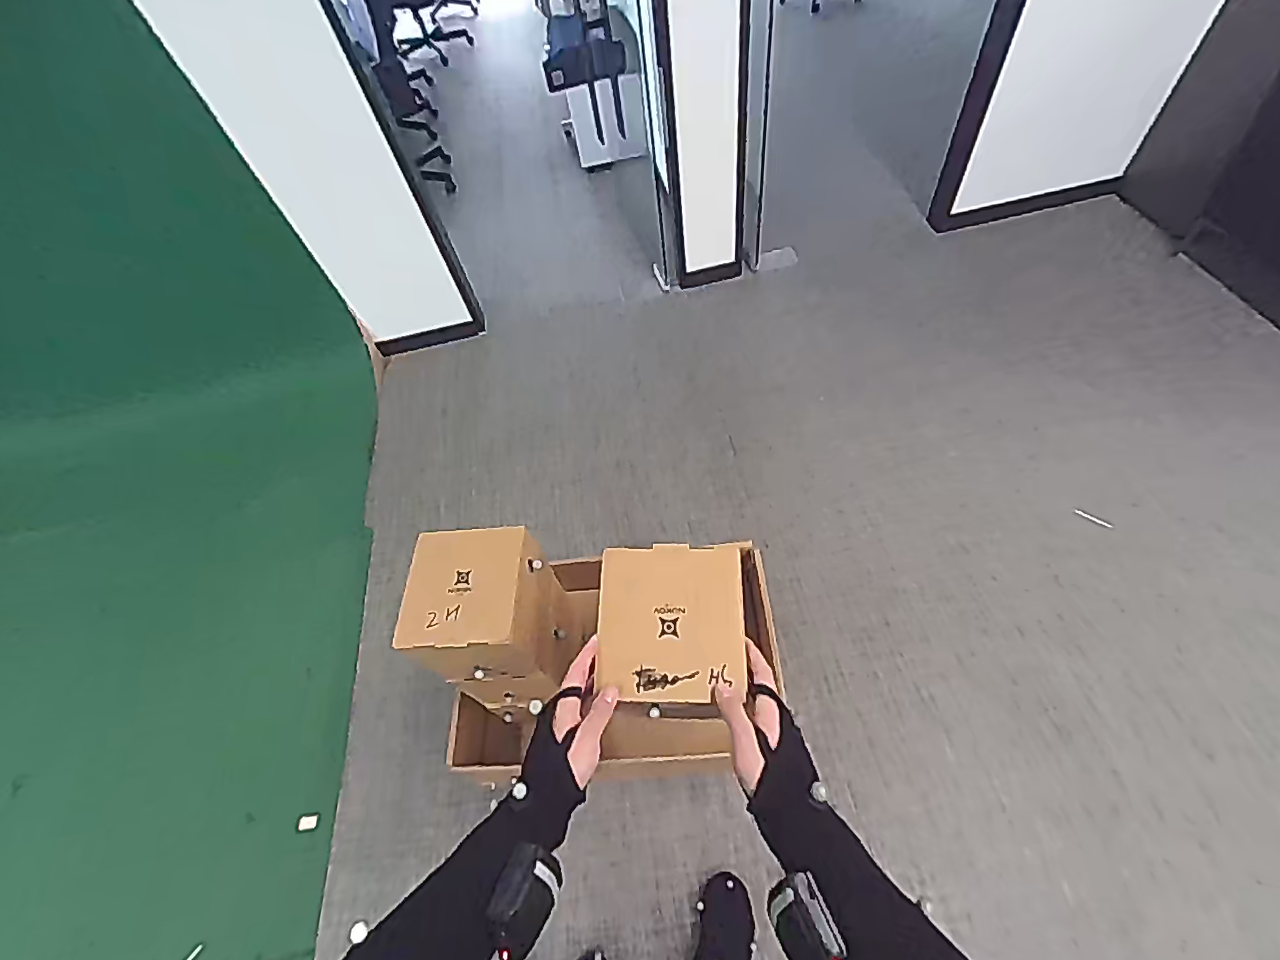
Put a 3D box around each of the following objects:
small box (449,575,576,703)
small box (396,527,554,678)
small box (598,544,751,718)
[{"bbox_3d":[-0.213,0.284,0.957,0.168,0.176,0.179,-4,56,5],"label":"small box"},{"bbox_3d":[-0.234,0.189,0.823,0.168,0.176,0.179,-4,56,6],"label":"small box"},{"bbox_3d":[0.047,0.193,0.680,0.168,0.176,0.179,-1,61,7],"label":"small box"}]
